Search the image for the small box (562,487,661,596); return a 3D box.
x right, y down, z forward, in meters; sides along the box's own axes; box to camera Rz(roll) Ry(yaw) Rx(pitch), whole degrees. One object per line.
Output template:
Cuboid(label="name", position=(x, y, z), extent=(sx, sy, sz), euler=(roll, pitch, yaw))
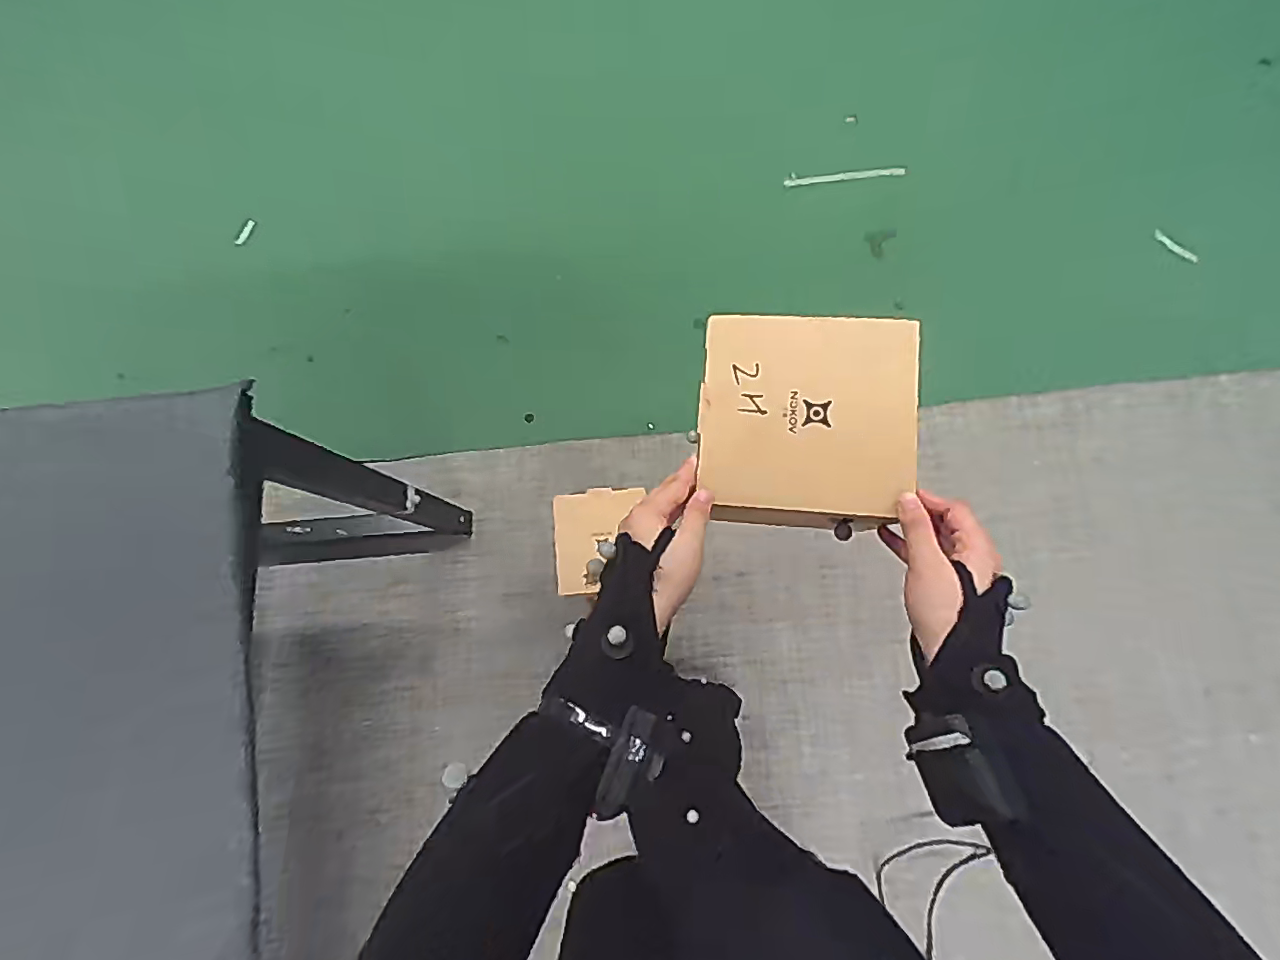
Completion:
Cuboid(label="small box", position=(-0.050, 0.119, 0.999), extent=(0.168, 0.176, 0.179), euler=(-4, 77, 1))
